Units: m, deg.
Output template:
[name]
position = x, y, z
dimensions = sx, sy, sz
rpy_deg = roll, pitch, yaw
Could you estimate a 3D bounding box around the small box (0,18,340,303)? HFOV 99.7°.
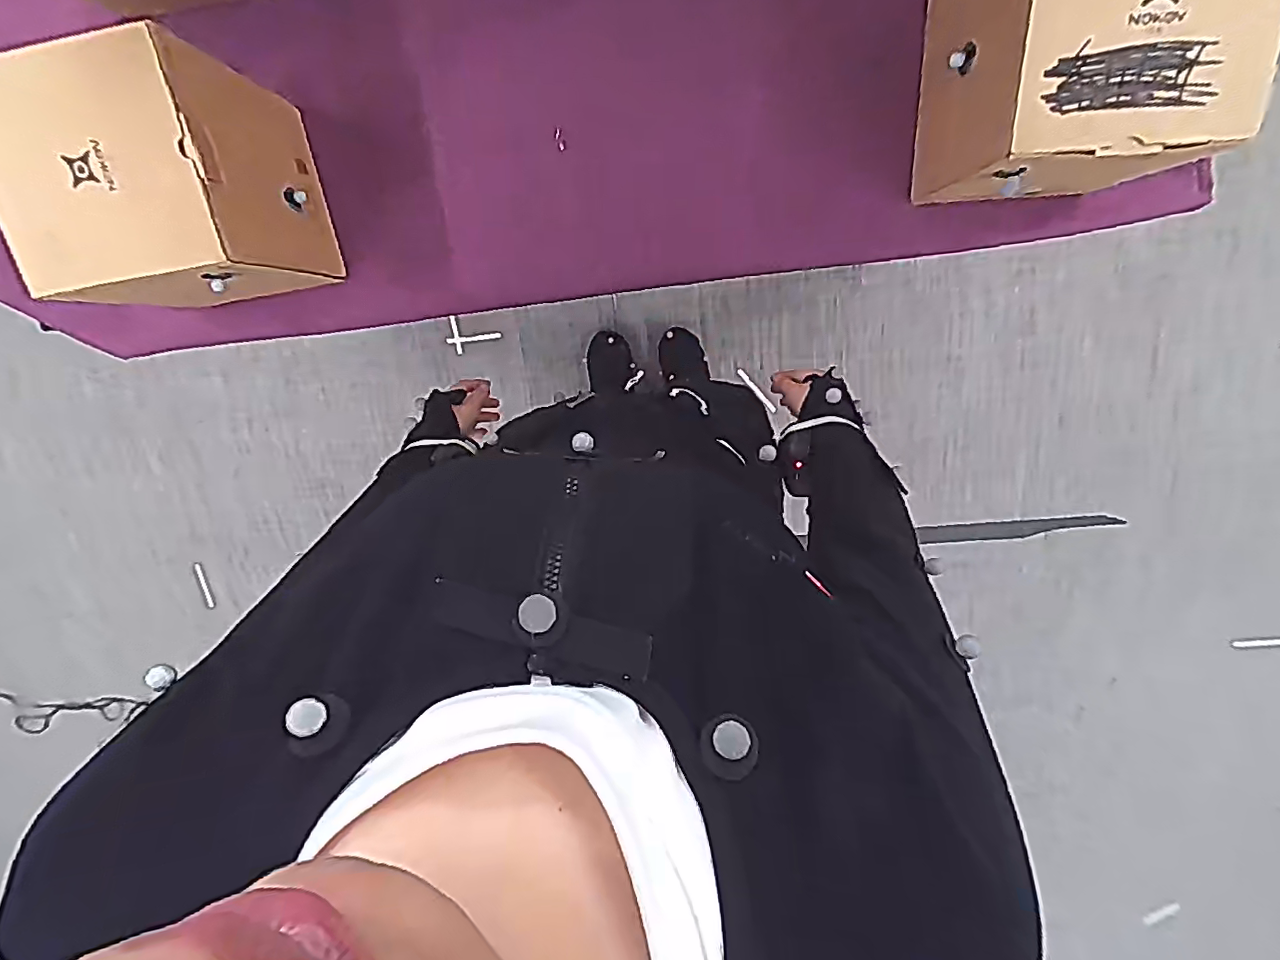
[small box]
position = -0.419, -0.261, 0.490
dimensions = 0.179, 0.176, 0.168
rpy_deg = -9, 105, 4
